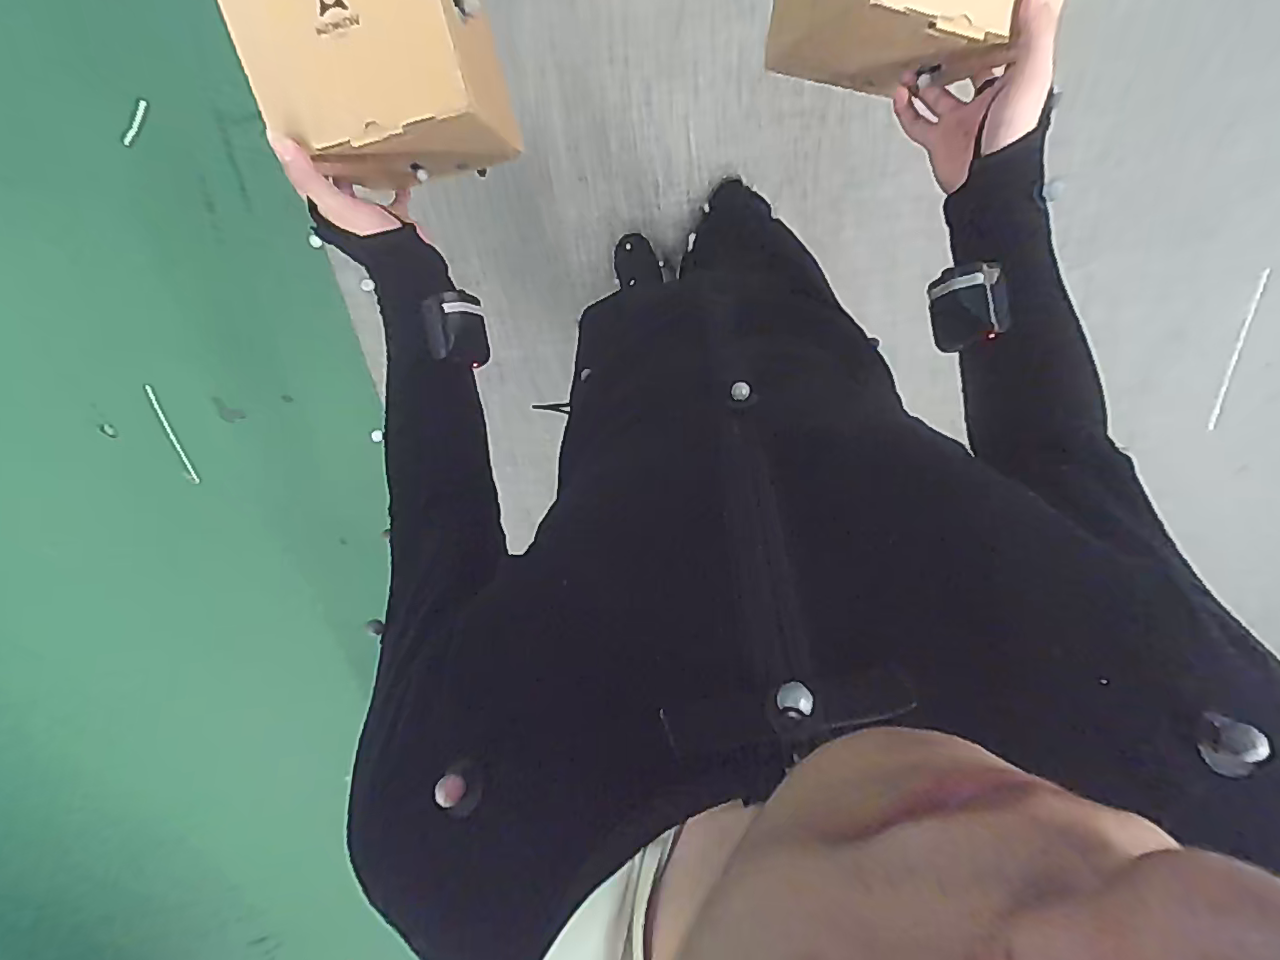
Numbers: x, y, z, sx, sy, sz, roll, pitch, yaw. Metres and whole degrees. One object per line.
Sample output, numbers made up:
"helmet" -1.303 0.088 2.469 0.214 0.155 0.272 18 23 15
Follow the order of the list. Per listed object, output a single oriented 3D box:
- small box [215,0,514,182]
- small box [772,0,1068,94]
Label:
"small box" -0.223 -0.378 0.461 0.168 0.176 0.179 -11 111 5
"small box" 0.224 -0.438 0.427 0.168 0.176 0.179 1 112 -16
